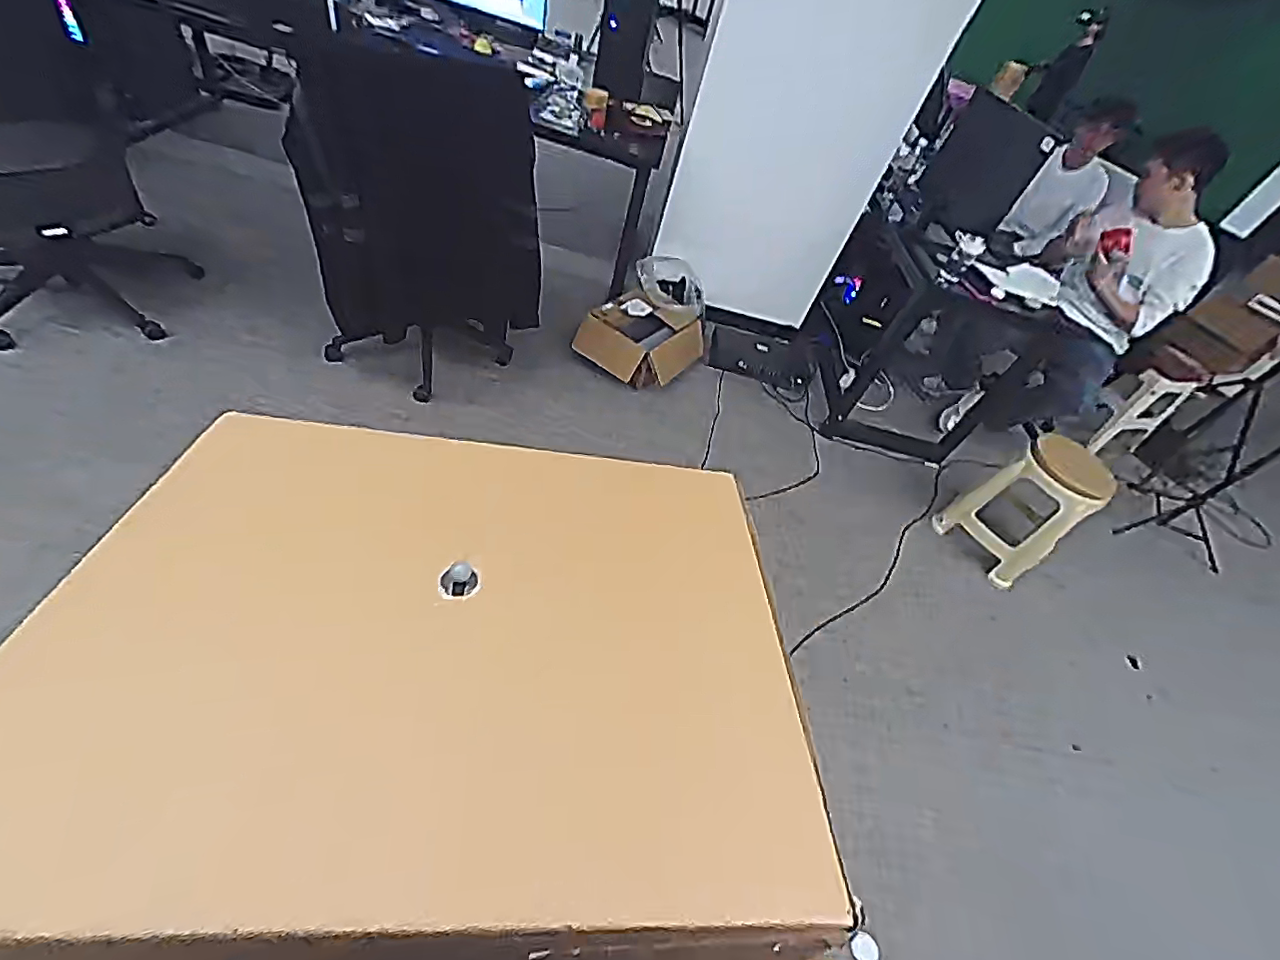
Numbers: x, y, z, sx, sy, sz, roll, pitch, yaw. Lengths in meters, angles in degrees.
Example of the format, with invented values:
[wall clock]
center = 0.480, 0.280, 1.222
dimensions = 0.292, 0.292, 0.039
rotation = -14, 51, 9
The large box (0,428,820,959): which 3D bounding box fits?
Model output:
[large box]
center = -0.148, 0.180, 0.419
dimensions = 0.408, 0.320, 0.320
rotation = 5, 42, -9
